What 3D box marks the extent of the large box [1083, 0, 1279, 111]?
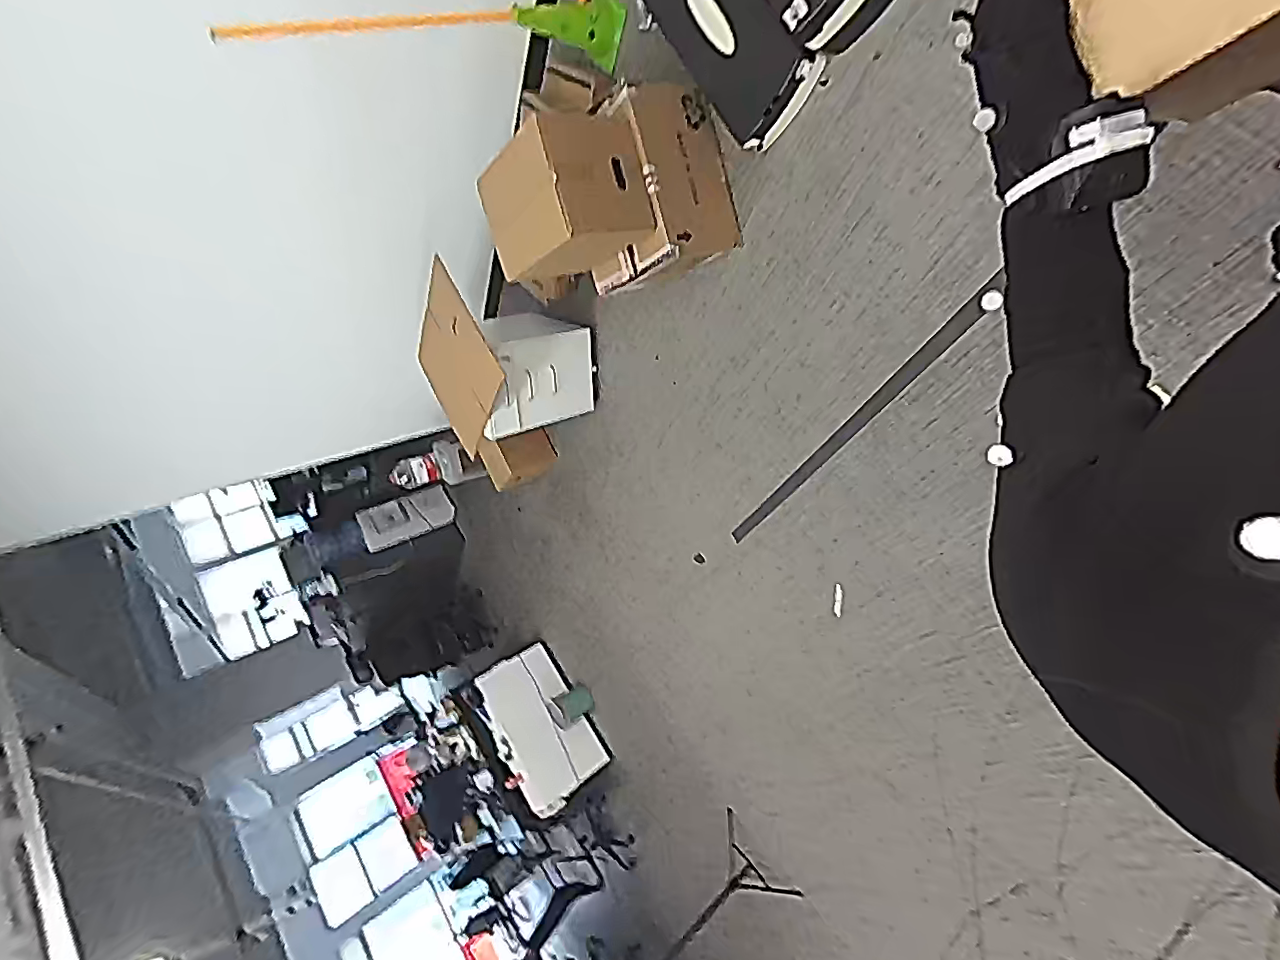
[{"bbox_3d":[0.503,-0.503,0.305,0.408,0.320,0.320,-18,95,56],"label":"large box"}]
